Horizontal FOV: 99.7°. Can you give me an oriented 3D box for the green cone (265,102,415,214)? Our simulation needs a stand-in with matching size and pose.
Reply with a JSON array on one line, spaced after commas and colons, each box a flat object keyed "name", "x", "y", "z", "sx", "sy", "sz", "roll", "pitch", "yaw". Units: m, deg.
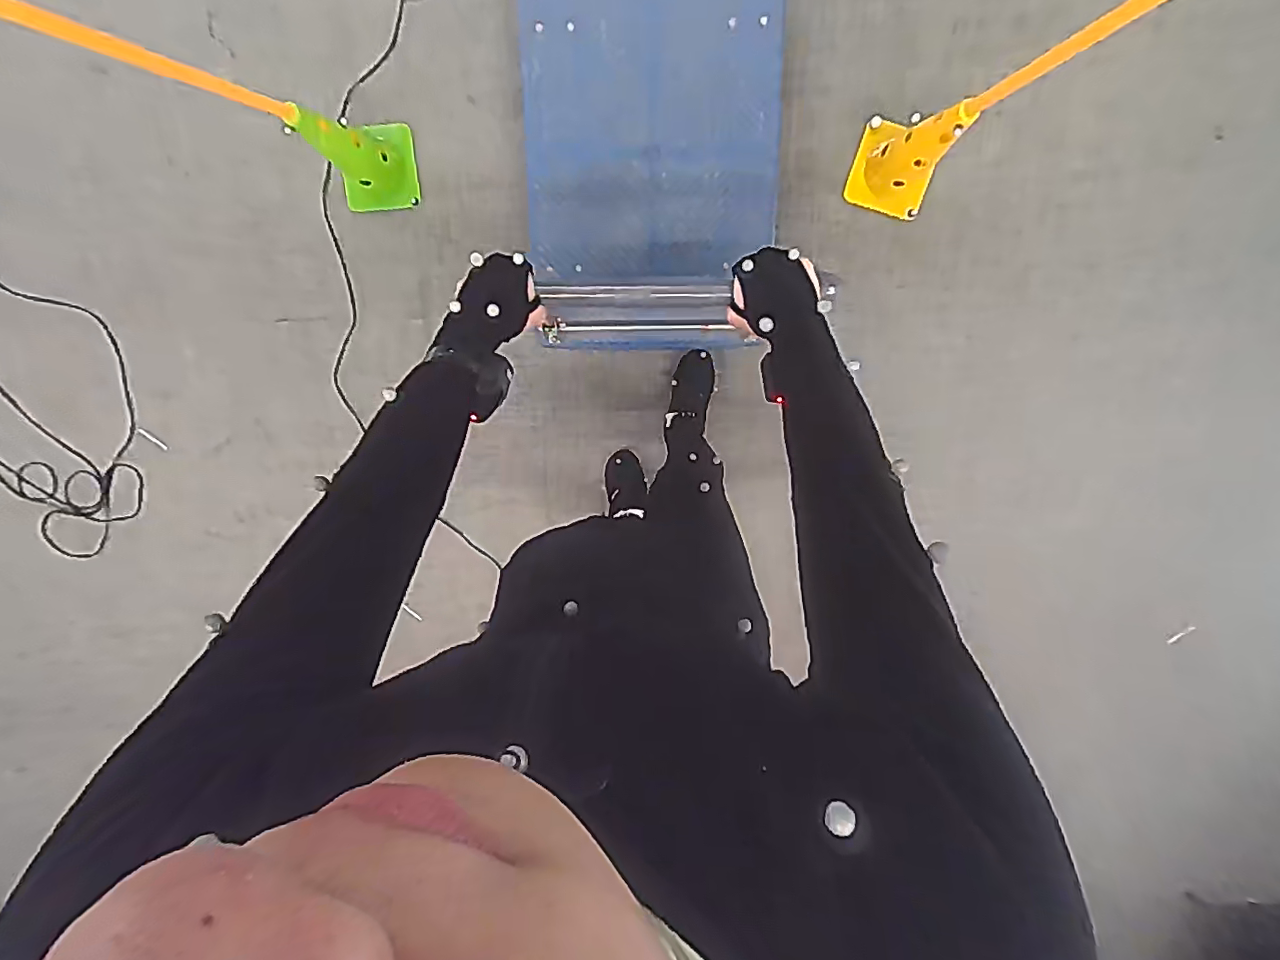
[{"name": "green cone", "x": -0.702, "y": -0.767, "z": 1.234, "sx": 0.202, "sy": 0.368, "sz": 0.200, "roll": -4, "pitch": 103, "yaw": 4}]
